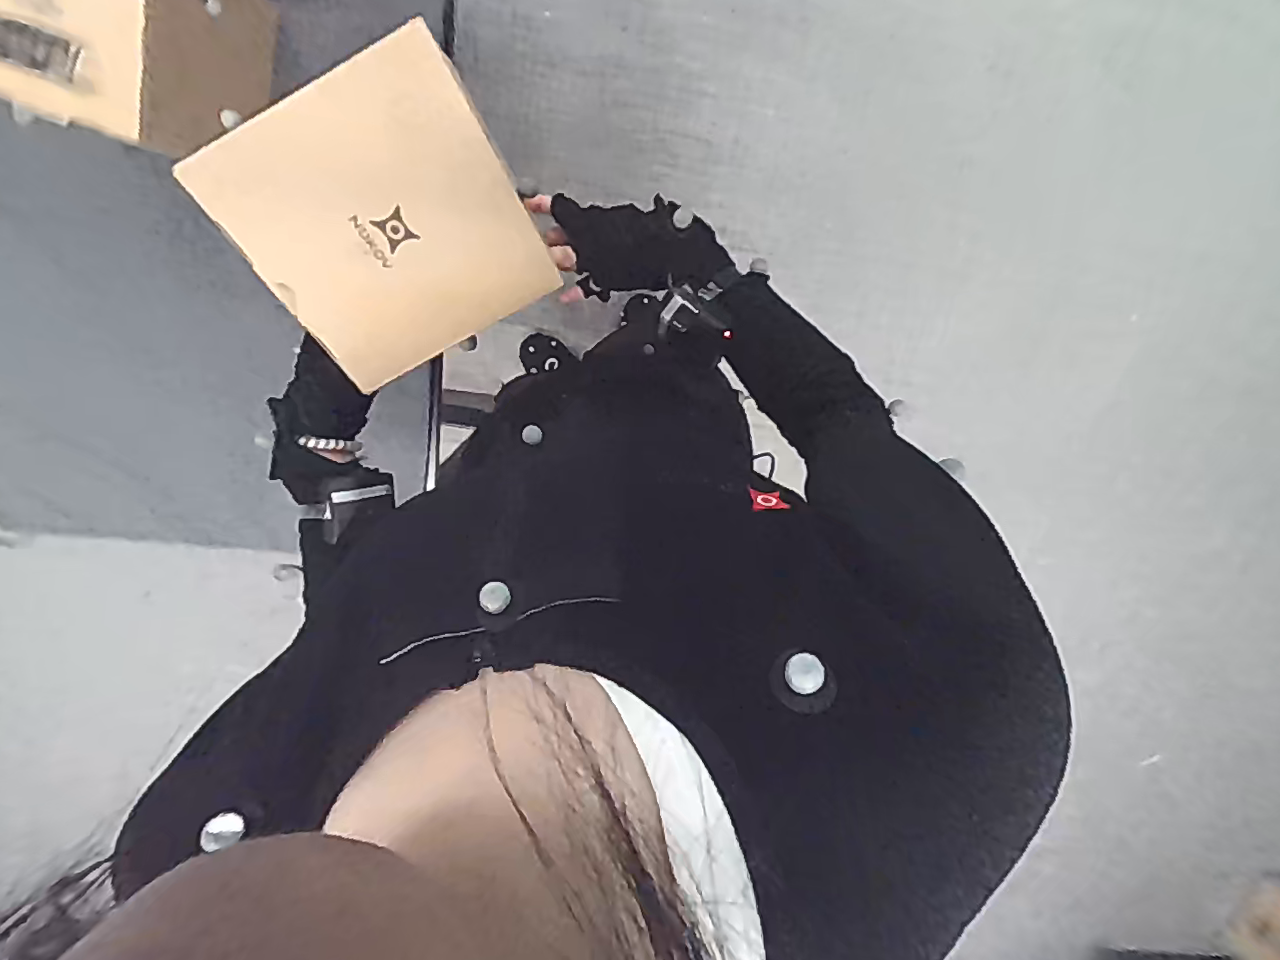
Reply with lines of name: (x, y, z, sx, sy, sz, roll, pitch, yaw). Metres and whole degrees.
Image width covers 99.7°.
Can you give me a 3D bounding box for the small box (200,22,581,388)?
small box: (-0.166, -0.206, 0.419, 0.179, 0.176, 0.168, -26, 123, 4)
